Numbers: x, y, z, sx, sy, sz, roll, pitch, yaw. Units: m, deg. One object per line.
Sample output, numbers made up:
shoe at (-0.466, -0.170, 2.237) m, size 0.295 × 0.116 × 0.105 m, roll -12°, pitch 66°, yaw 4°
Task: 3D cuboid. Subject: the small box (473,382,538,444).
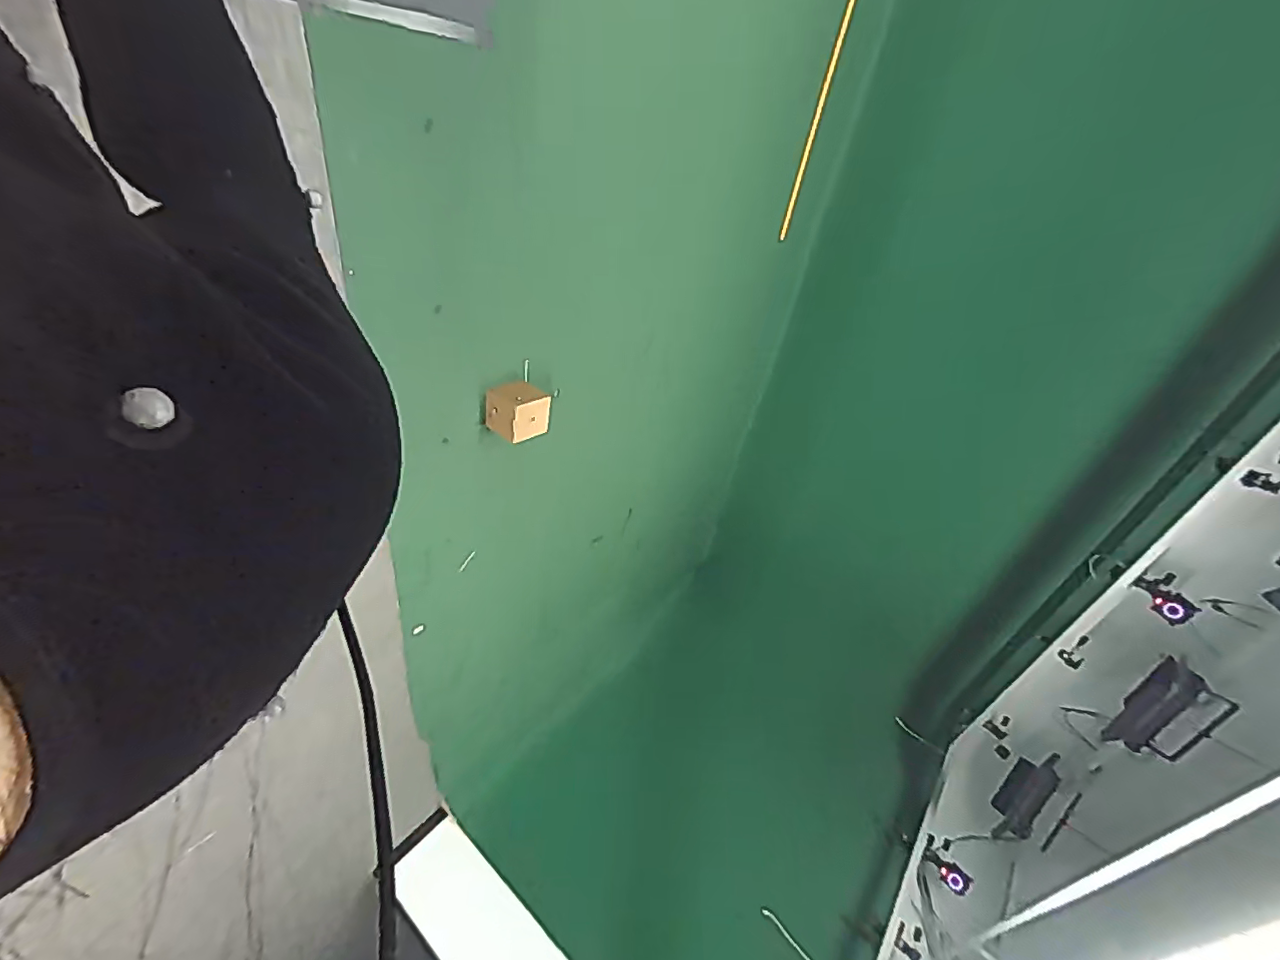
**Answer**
small box at (-0.526, -0.268, 2.110) m, size 0.179 × 0.176 × 0.168 m, roll -29°, pitch 143°, yaw -46°
